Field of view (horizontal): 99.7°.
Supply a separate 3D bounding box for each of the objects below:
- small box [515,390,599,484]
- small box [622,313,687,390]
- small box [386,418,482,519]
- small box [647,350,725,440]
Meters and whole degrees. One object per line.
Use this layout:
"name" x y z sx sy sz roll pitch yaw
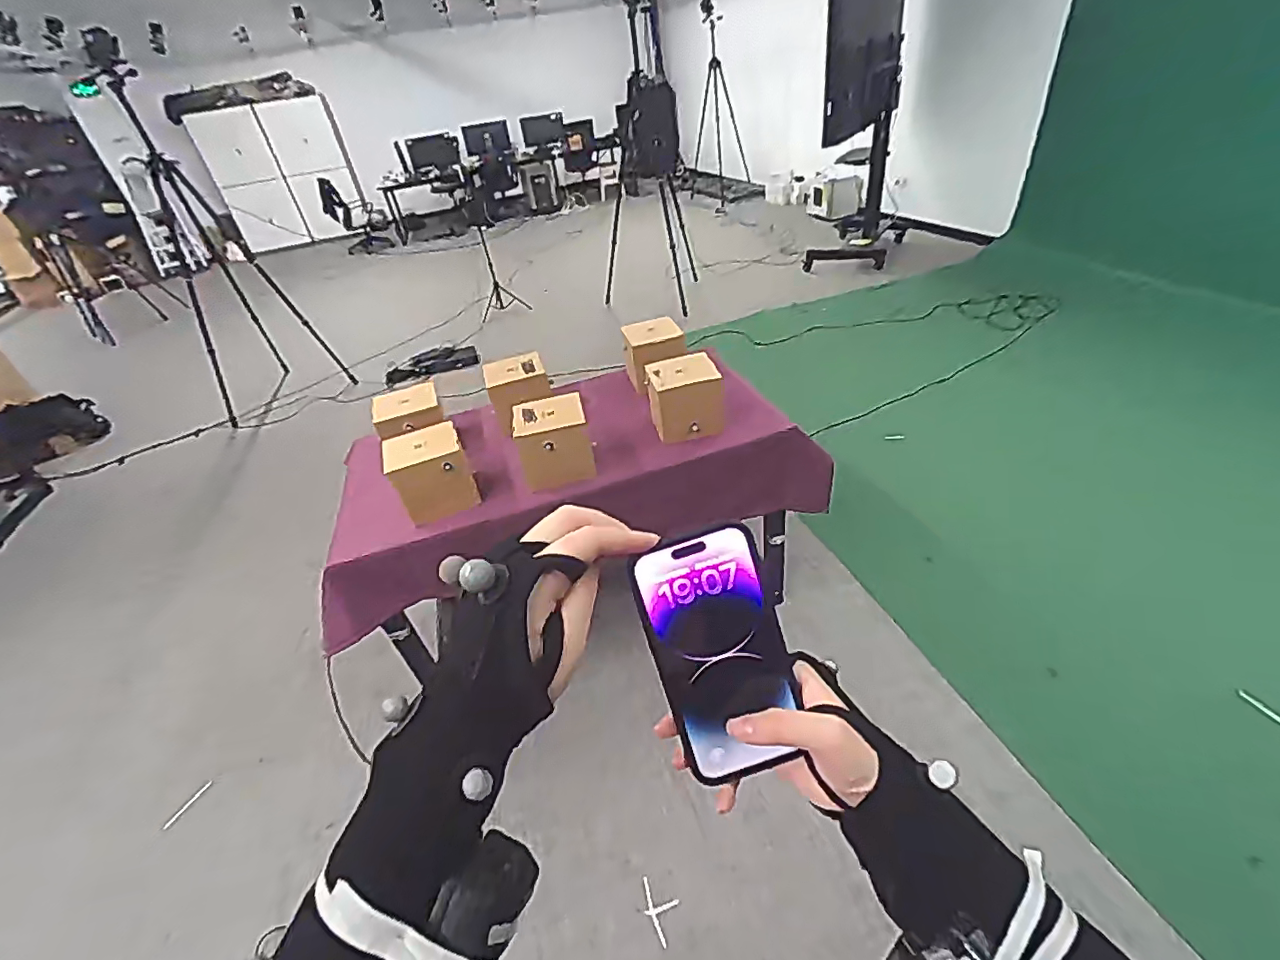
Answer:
"small box" -0.214 -0.108 1.390 0.179 0.176 0.168 -12 37 -5
"small box" 0.048 -0.409 1.723 0.168 0.176 0.179 -15 38 -6
"small box" -0.514 -0.028 1.352 0.179 0.176 0.168 -19 38 -15
"small box" 0.126 -0.231 1.476 0.179 0.176 0.168 -12 37 -4
